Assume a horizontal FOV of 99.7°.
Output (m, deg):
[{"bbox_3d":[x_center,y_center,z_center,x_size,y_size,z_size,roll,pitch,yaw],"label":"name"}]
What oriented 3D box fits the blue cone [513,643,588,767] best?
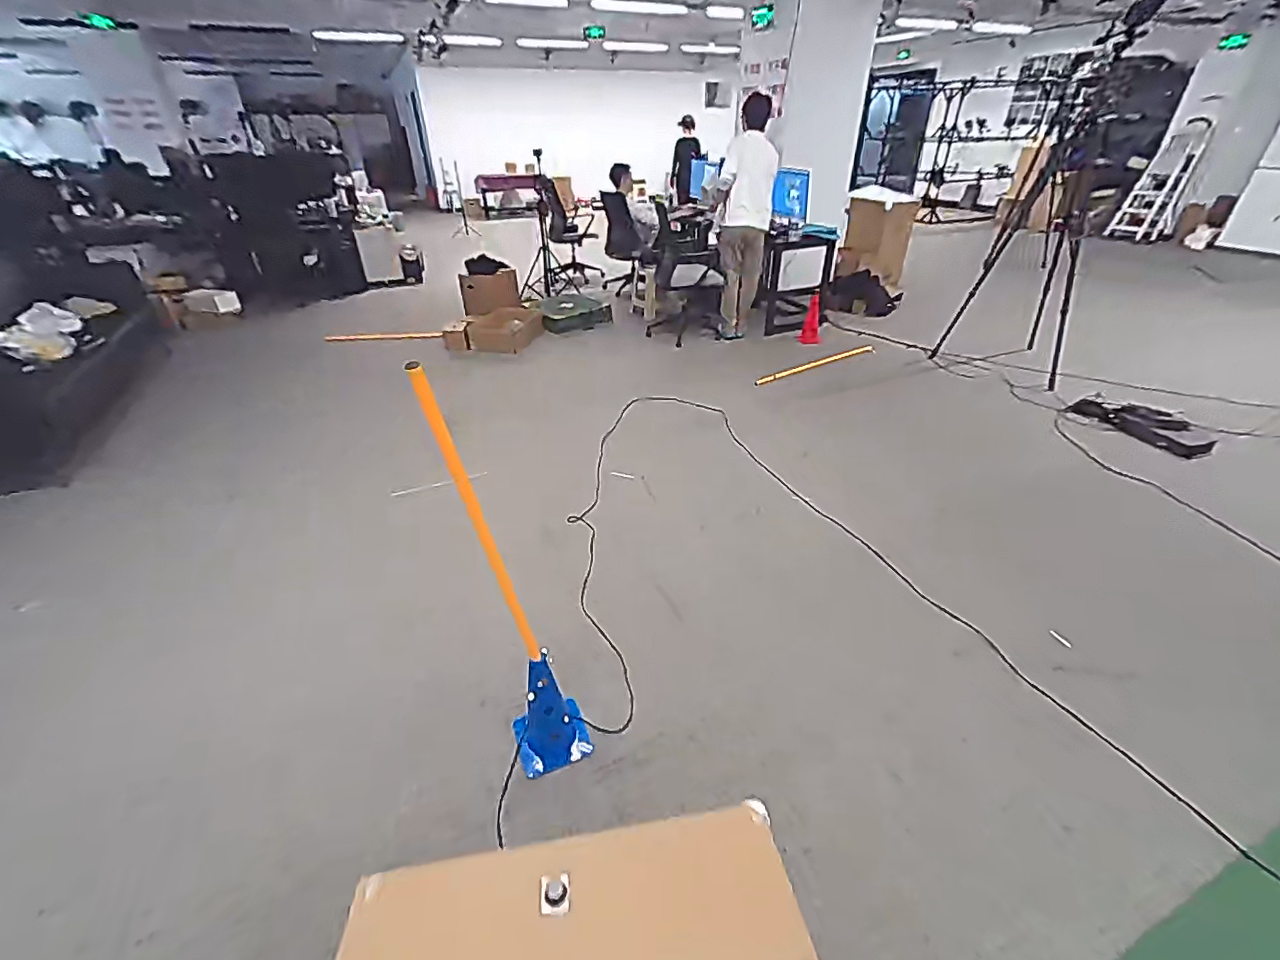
[{"bbox_3d":[-0.267,0.595,1.490,0.193,0.380,0.192,-17,36,-20],"label":"blue cone"}]
